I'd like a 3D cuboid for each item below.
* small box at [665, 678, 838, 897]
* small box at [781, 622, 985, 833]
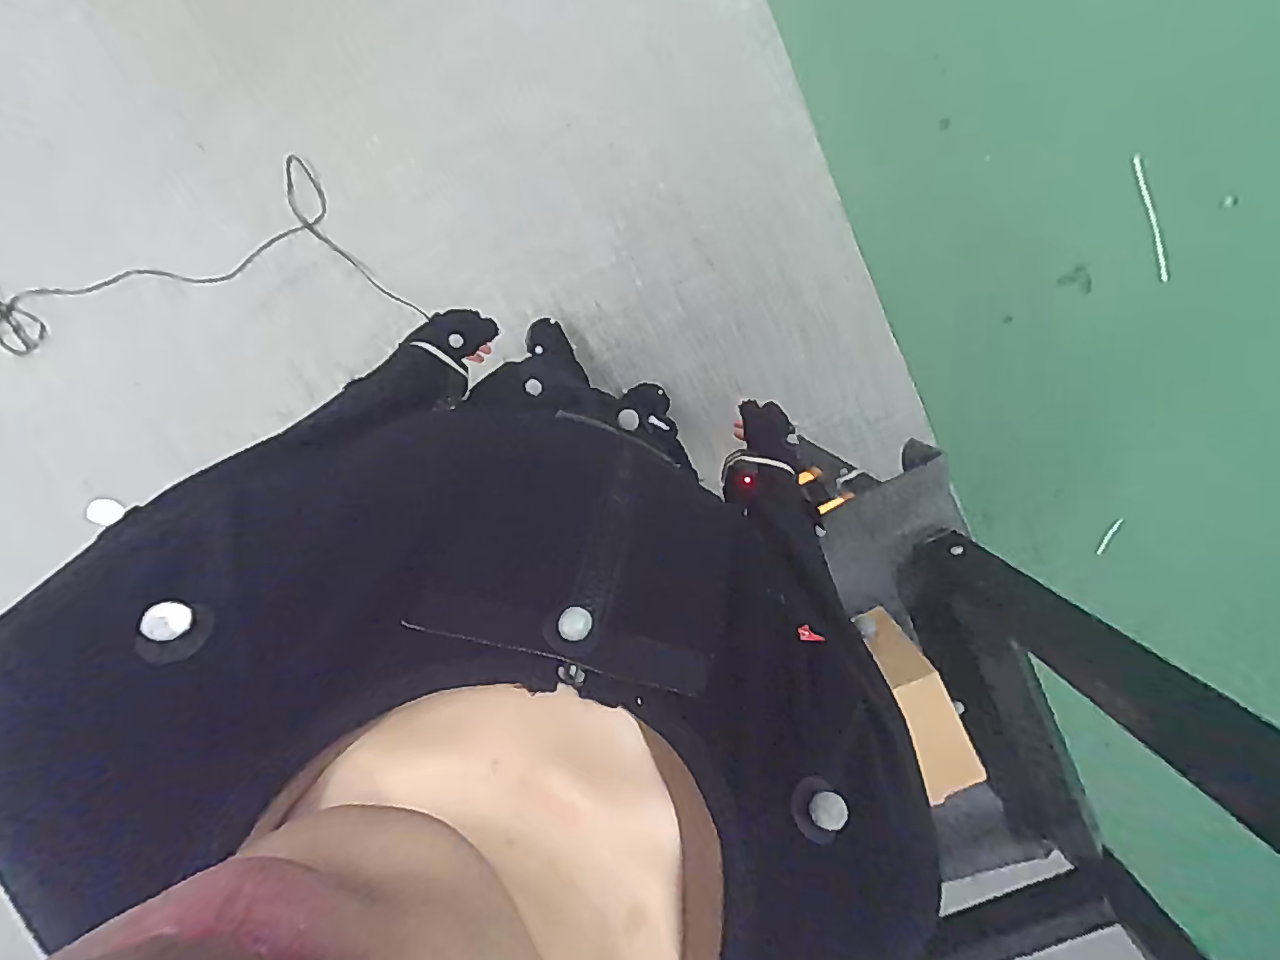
[{"bbox_3d":[0.145,0.418,0.758,0.168,0.176,0.179,-27,102,6],"label":"small box"},{"bbox_3d":[0.313,0.317,0.732,0.168,0.176,0.179,-28,103,7],"label":"small box"}]
